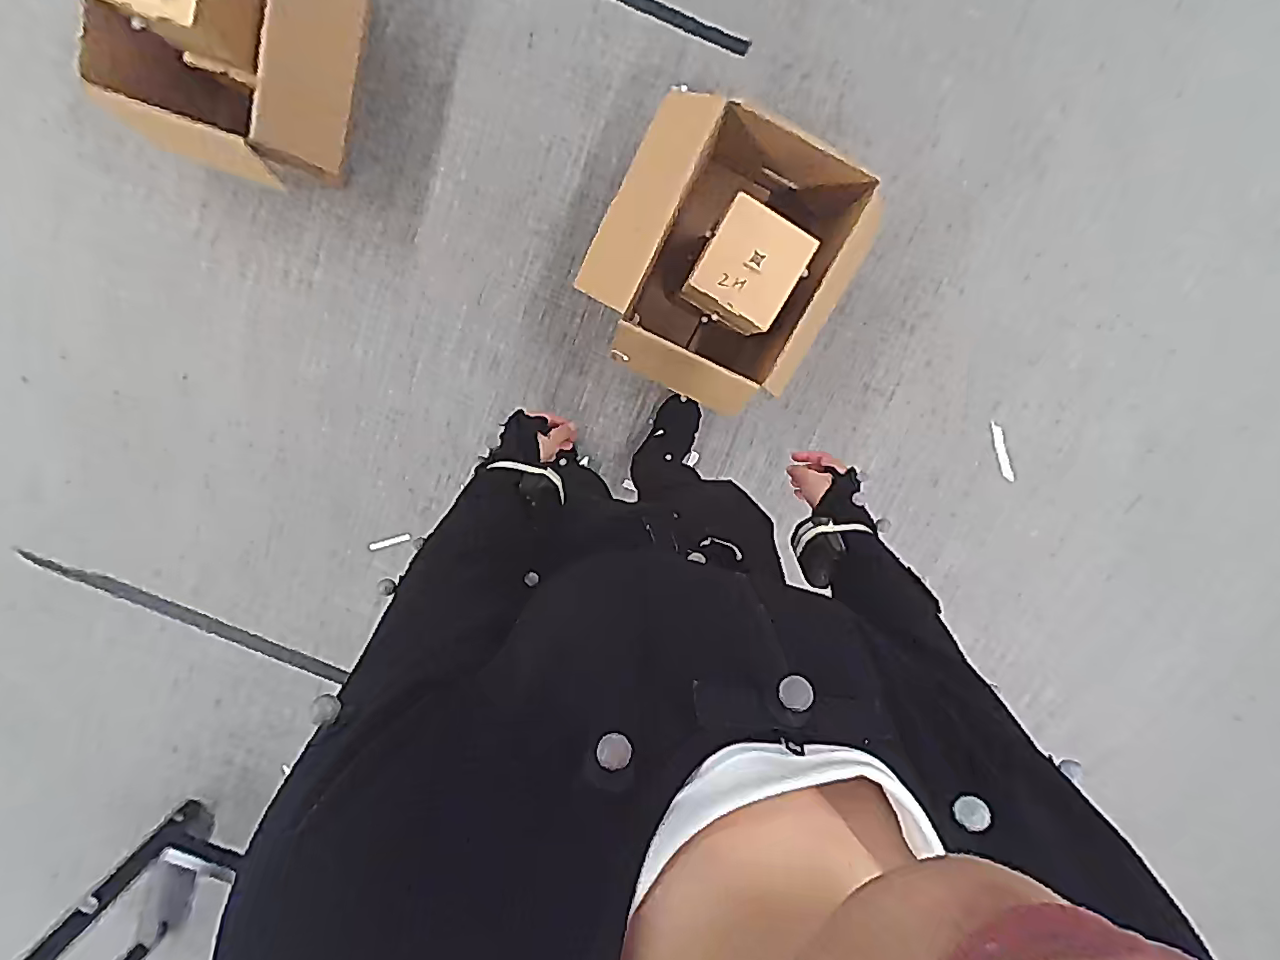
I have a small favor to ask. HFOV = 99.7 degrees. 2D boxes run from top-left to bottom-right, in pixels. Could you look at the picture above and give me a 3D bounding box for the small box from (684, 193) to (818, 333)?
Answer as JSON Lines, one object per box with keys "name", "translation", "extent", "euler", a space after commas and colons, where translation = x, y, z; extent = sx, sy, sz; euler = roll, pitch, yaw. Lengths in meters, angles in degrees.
{"name": "small box", "translation": [0.196, -0.397, 1.022], "extent": [0.168, 0.176, 0.179], "euler": [29, 101, -8]}
